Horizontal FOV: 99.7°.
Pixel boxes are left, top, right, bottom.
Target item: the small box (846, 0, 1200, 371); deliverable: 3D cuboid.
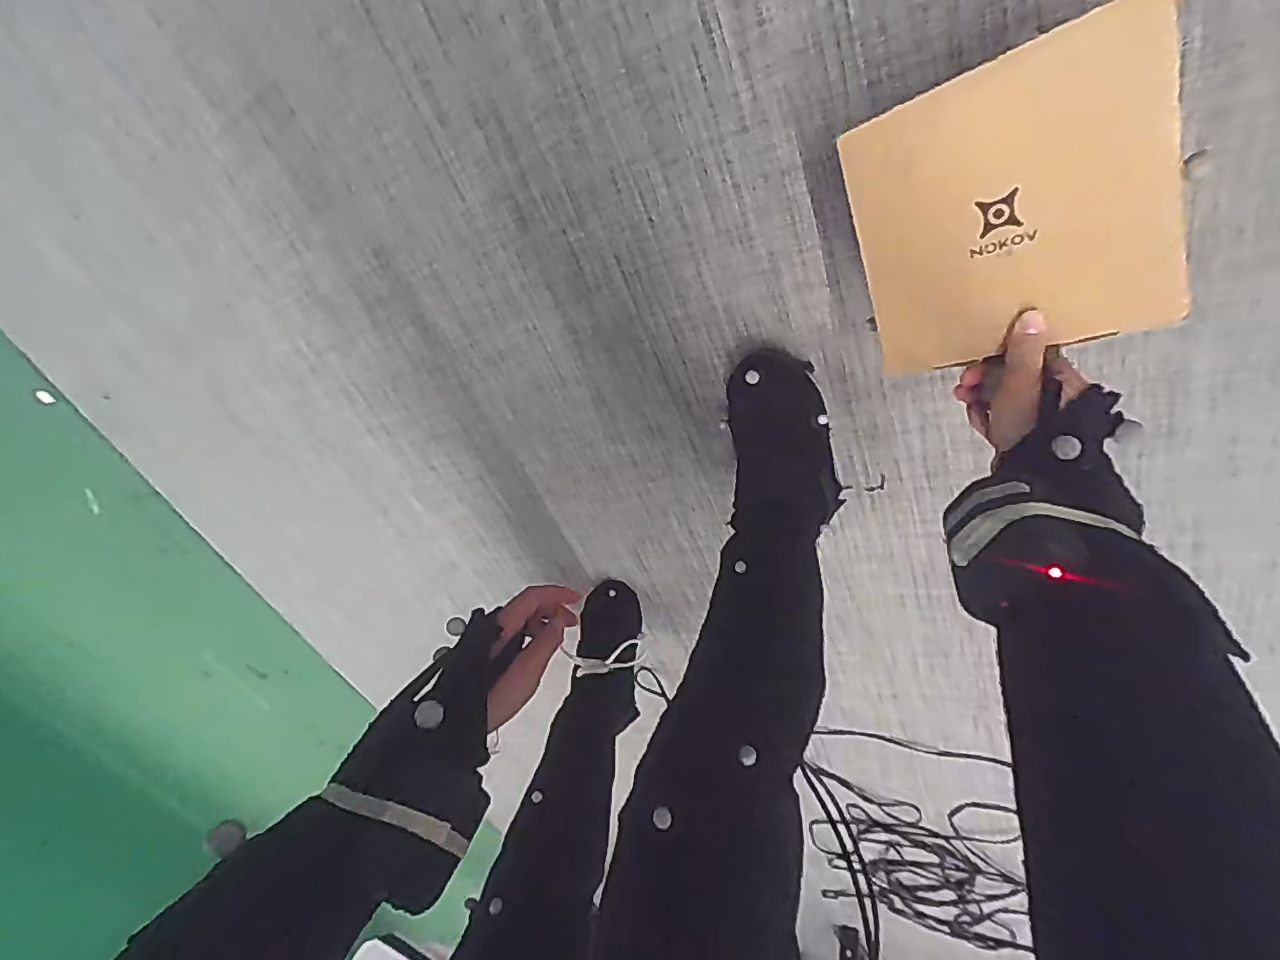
[{"bbox_3d":[0.268,-0.200,0.389,0.168,0.176,0.179,-7,113,39],"label":"small box"}]
